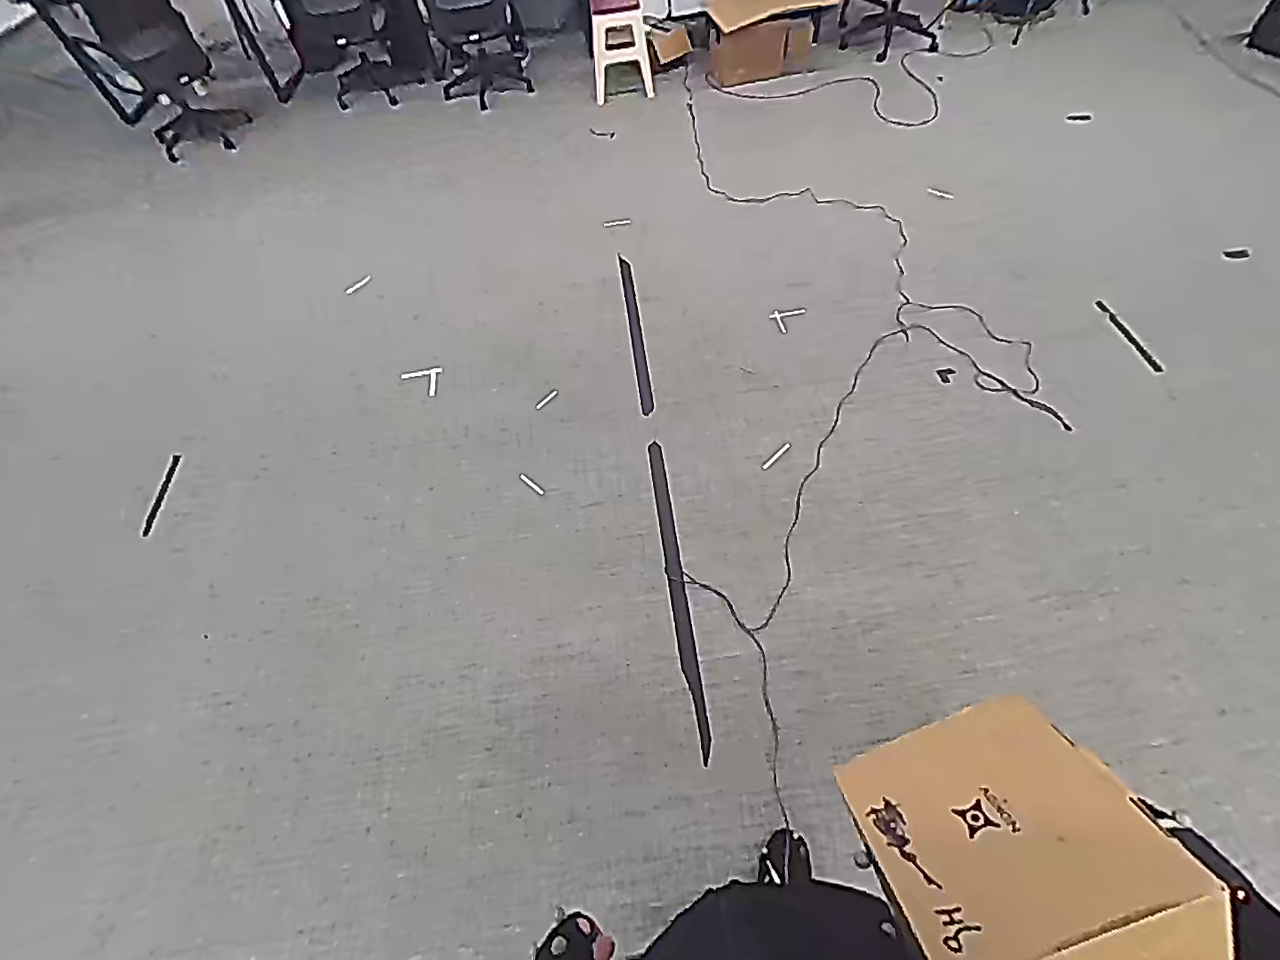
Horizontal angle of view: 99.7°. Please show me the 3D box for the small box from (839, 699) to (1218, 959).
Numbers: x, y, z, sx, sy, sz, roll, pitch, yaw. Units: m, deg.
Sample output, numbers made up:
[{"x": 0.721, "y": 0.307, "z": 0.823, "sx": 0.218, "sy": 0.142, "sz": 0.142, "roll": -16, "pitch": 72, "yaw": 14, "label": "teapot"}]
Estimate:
[{"x": 0.292, "y": 0.321, "z": 0.432, "sx": 0.179, "sy": 0.176, "sz": 0.168, "roll": -24, "pitch": 19, "yaw": 4, "label": "small box"}]
